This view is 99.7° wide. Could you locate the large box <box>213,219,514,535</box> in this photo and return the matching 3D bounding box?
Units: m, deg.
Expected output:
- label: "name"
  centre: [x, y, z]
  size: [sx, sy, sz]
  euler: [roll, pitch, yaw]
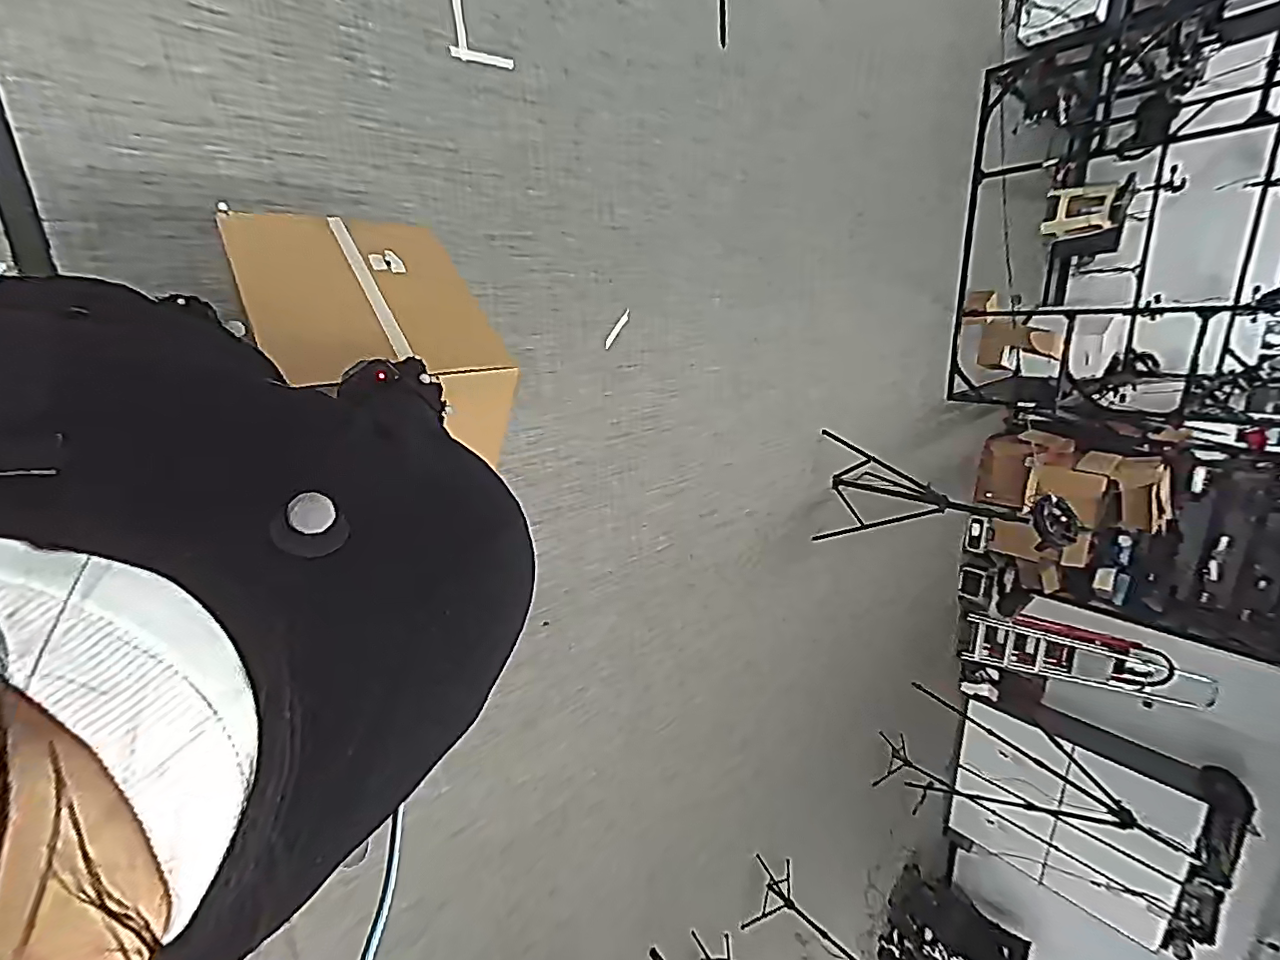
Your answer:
- label: "large box"
  centre: [-0.459, -0.182, 0.912]
  size: [0.320, 0.408, 0.320]
  euler: [-16, 147, -36]
